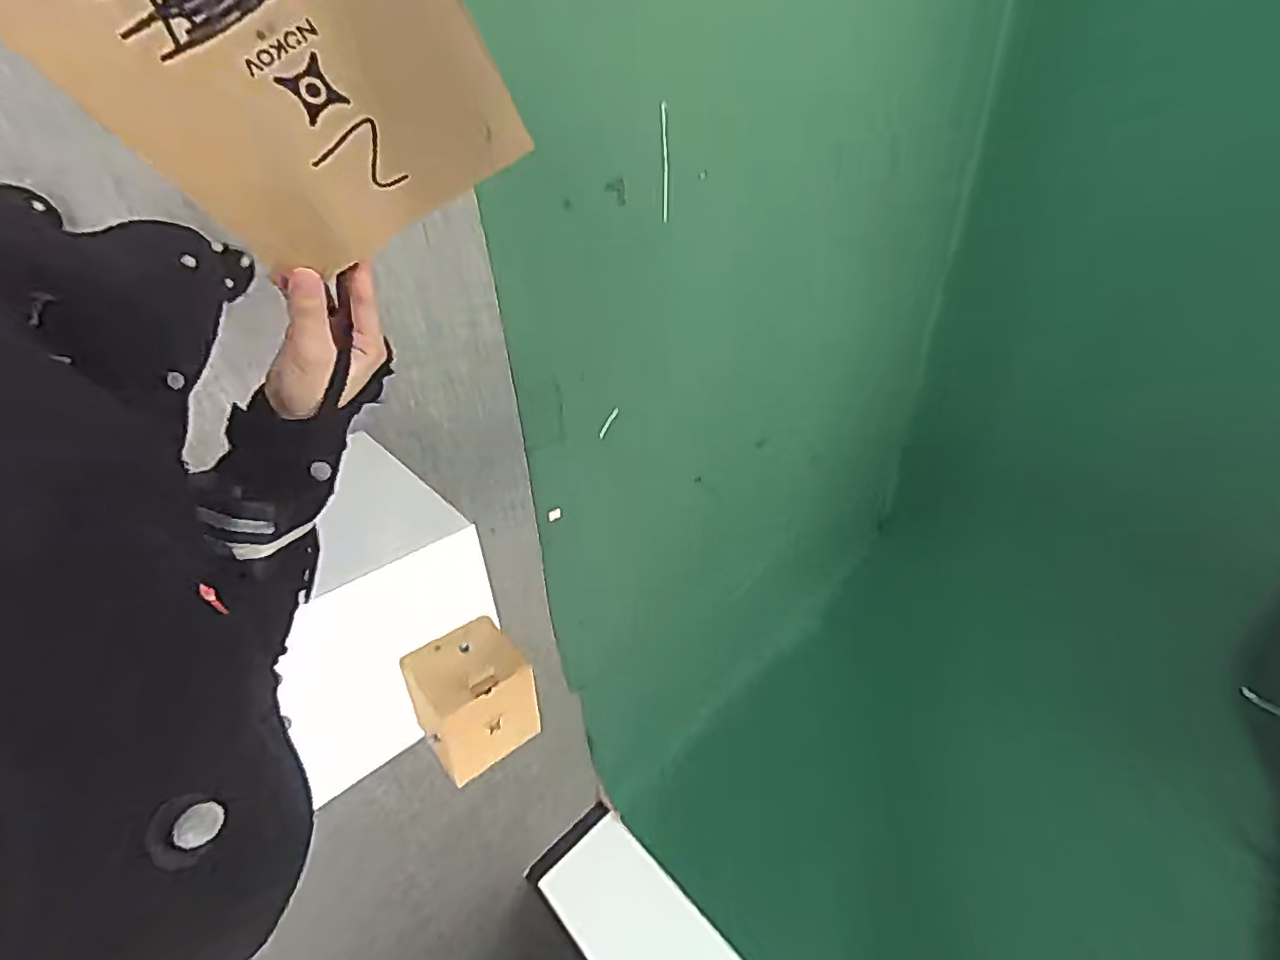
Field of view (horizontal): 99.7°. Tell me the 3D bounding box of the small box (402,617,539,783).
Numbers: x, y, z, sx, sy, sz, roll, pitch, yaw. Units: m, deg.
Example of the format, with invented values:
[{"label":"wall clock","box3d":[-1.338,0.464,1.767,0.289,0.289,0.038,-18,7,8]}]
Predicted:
[{"label":"small box","box3d":[-0.301,0.381,0.965,0.168,0.176,0.179,-24,126,-36]}]
